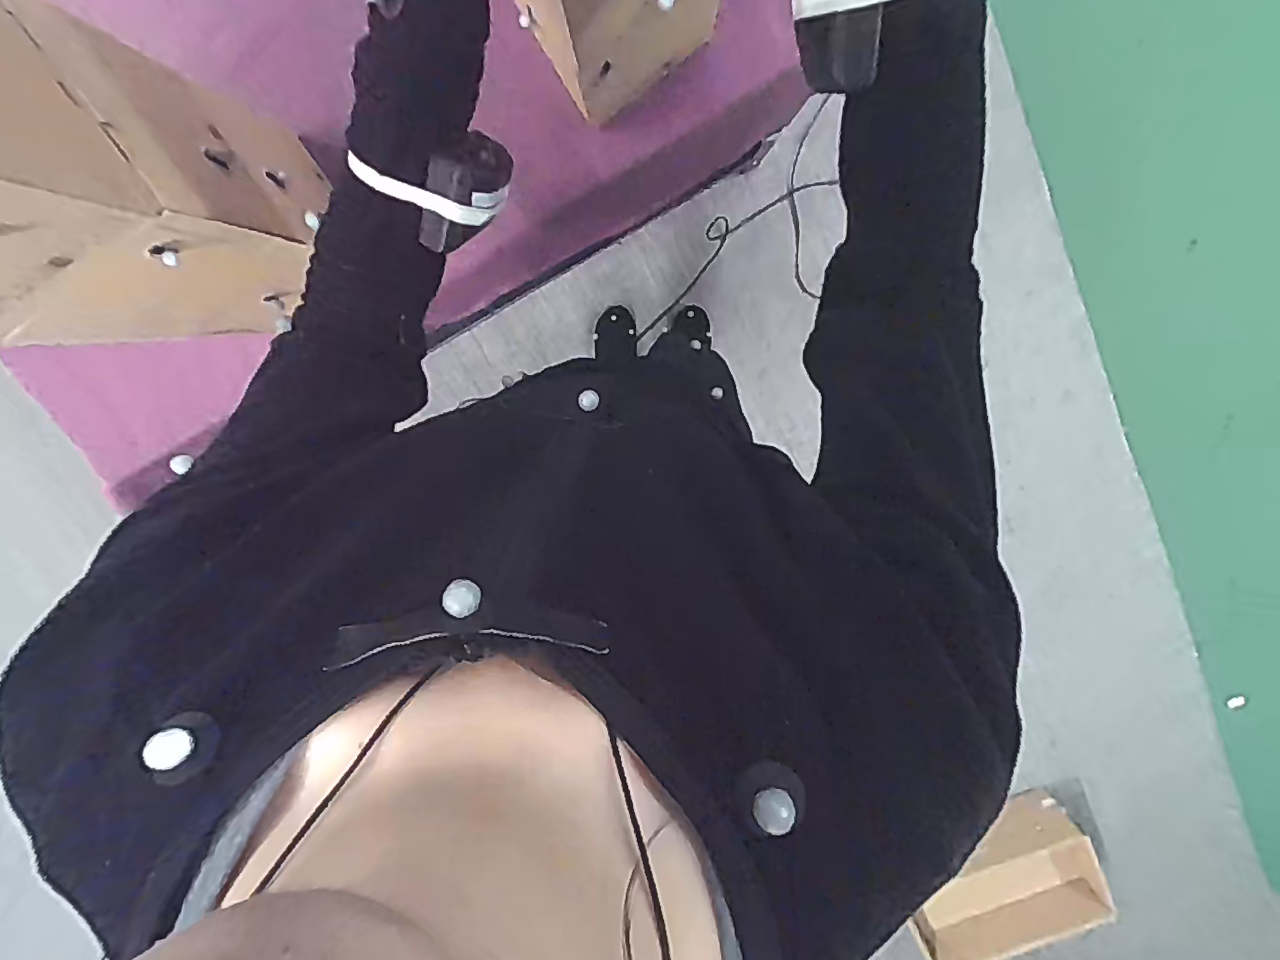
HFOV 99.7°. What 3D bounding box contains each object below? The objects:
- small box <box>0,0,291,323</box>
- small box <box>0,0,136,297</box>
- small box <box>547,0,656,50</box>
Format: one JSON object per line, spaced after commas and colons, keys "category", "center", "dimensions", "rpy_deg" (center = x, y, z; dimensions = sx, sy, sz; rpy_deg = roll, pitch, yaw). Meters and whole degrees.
{"category": "small box", "center": [-0.438, -0.238, 0.433], "dimensions": [0.179, 0.176, 0.168], "rpy_deg": [-30, 103, 8]}
{"category": "small box", "center": [-0.438, -0.196, 0.276], "dimensions": [0.168, 0.176, 0.179], "rpy_deg": [-29, 104, 7]}
{"category": "small box", "center": [-0.032, -0.447, 0.359], "dimensions": [0.168, 0.176, 0.179], "rpy_deg": [-32, 109, 12]}
